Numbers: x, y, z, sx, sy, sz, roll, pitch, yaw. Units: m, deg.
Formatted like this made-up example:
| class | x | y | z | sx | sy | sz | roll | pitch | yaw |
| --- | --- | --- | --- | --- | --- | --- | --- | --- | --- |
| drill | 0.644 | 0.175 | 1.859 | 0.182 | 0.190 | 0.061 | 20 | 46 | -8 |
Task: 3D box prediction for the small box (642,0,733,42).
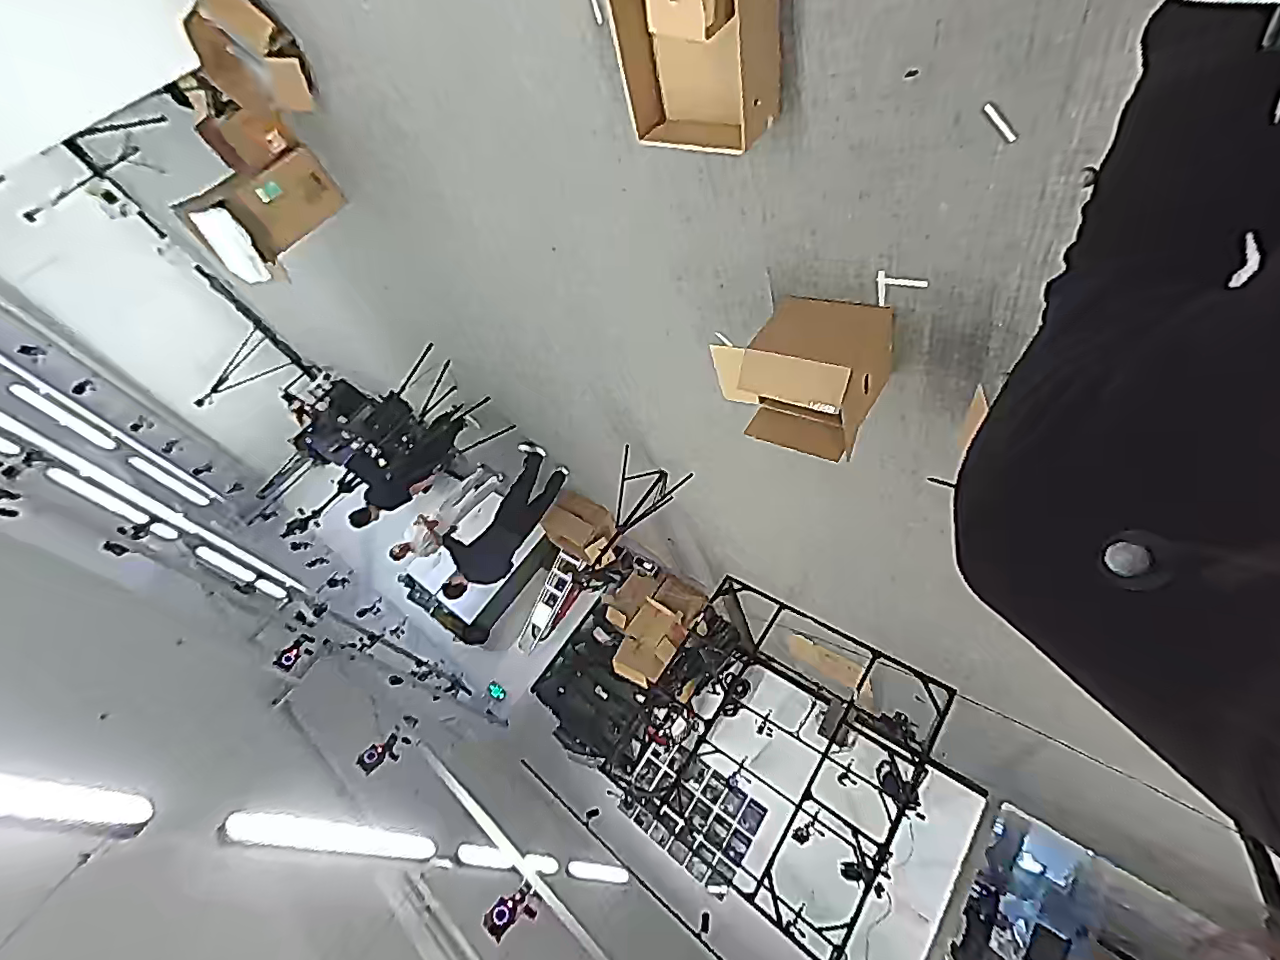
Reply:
| class | x | y | z | sx | sy | sz | roll | pitch | yaw |
| --- | --- | --- | --- | --- | --- | --- | --- | --- | --- |
| small box | 0.118 | -1.204 | 1.303 | 0.179 | 0.176 | 0.168 | 29 | 159 | 21 |
